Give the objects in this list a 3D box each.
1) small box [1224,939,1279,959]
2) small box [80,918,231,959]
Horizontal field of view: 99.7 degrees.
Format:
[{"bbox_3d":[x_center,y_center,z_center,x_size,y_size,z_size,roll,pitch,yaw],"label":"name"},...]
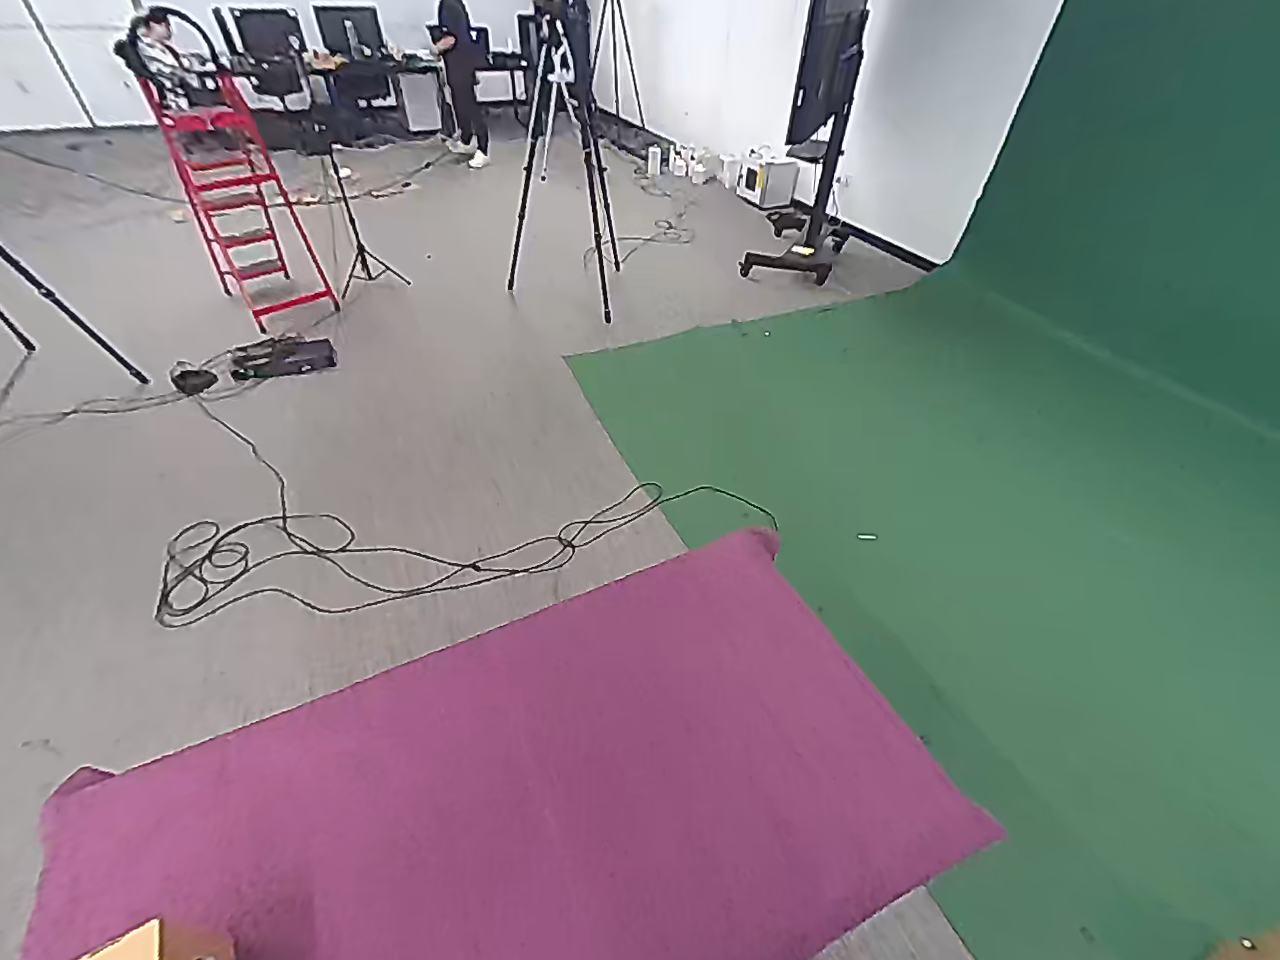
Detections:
[{"bbox_3d":[1.362,1.119,1.139,0.179,0.176,0.168,-16,46,-20],"label":"small box"},{"bbox_3d":[-0.538,0.601,0.545,0.168,0.176,0.179,-21,49,-23],"label":"small box"}]
